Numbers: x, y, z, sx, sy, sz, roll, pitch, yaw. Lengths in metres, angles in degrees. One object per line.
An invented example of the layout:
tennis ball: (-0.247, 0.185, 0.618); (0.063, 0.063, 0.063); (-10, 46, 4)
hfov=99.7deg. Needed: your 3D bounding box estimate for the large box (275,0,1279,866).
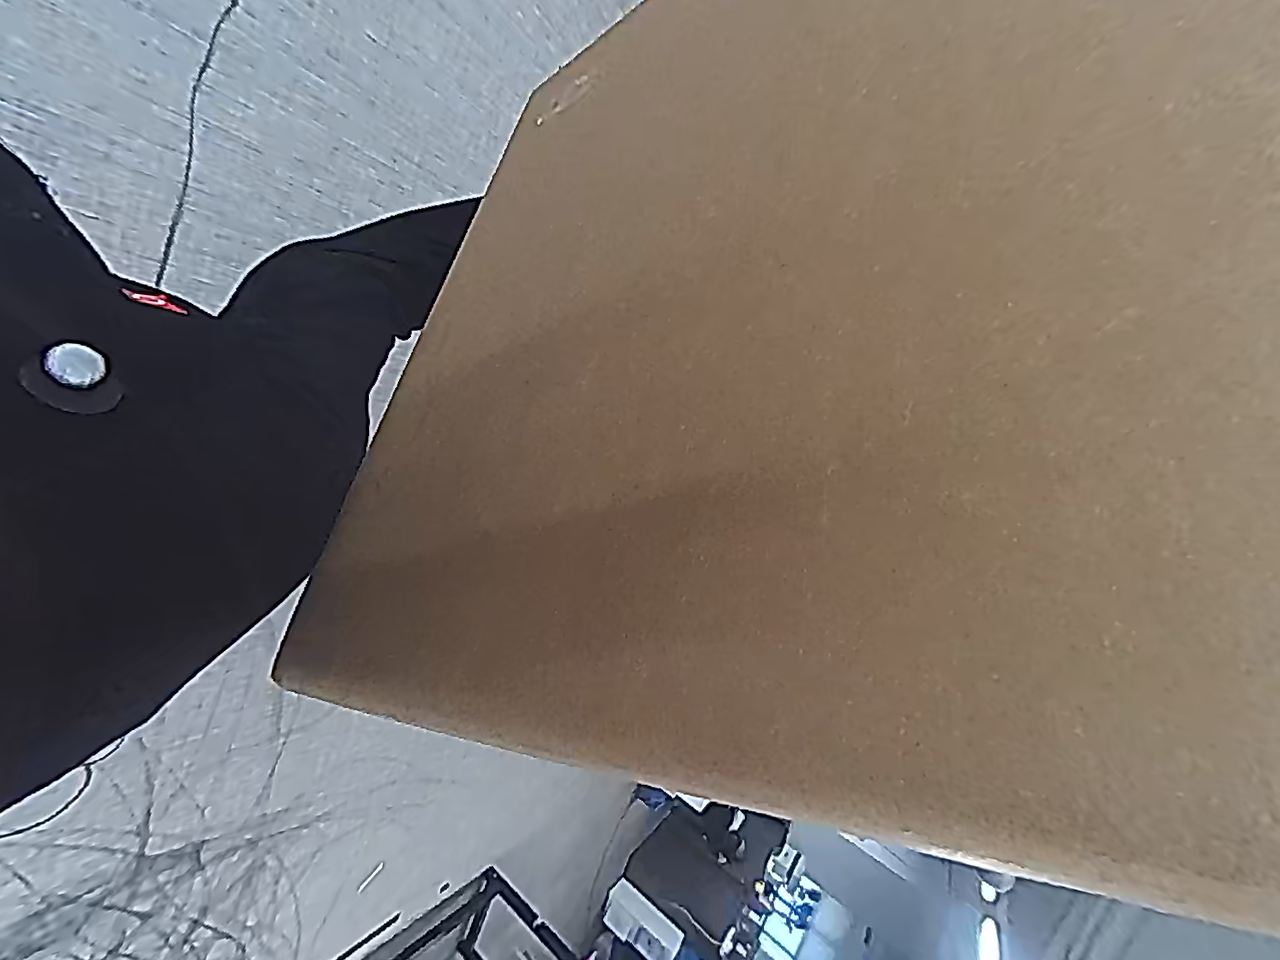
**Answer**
large box: (0.095, -0.052, 0.315); (0.320, 0.320, 0.408); (40, 53, -44)
